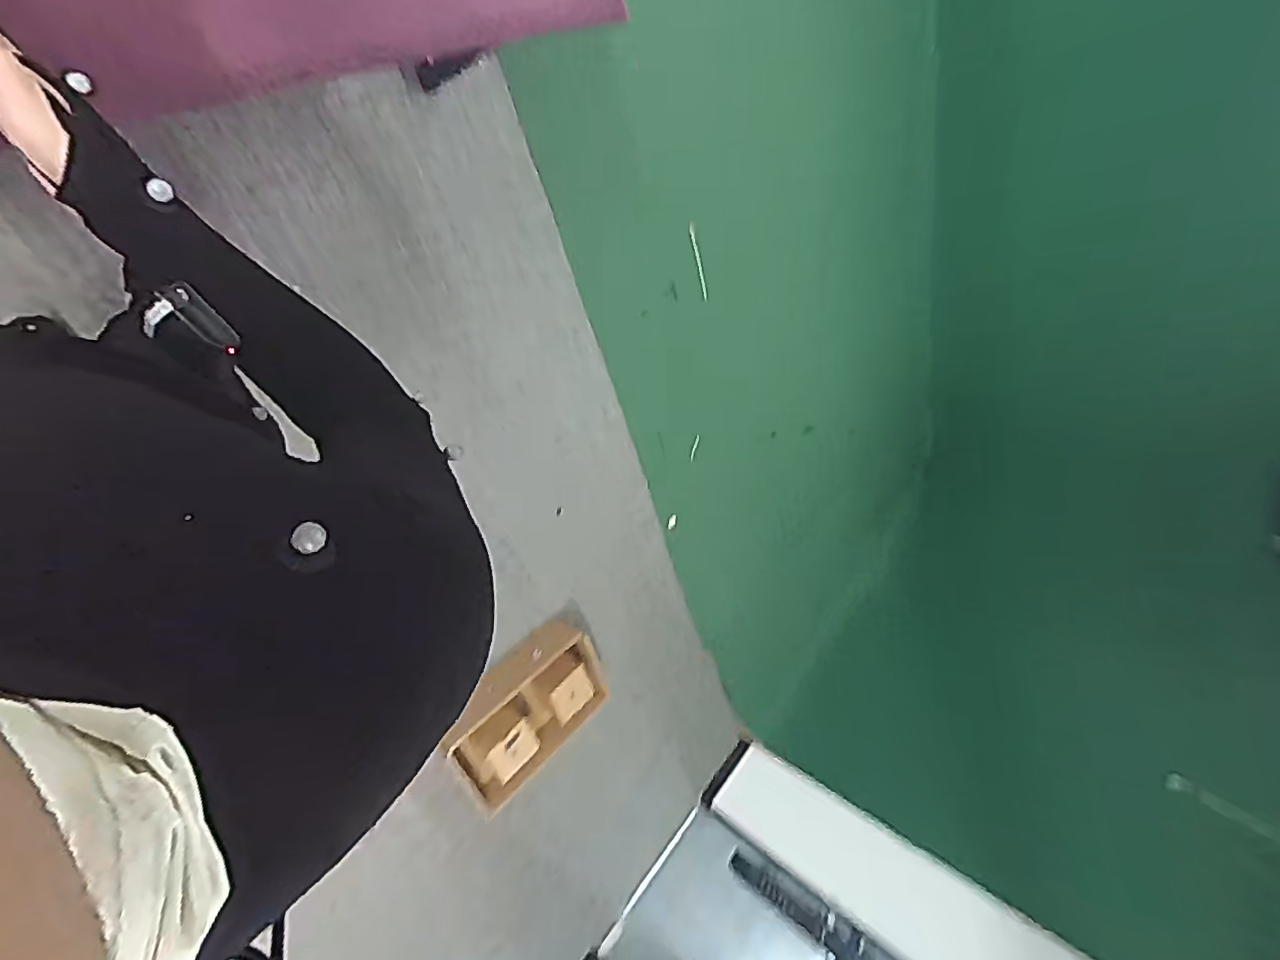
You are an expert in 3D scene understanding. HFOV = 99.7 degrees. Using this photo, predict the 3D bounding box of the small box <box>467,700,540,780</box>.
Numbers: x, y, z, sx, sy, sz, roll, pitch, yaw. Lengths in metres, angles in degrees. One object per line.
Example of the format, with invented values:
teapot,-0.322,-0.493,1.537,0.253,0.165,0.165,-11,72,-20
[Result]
small box,-0.497,0.930,1.959,0.168,0.176,0.179,-37,127,-32
